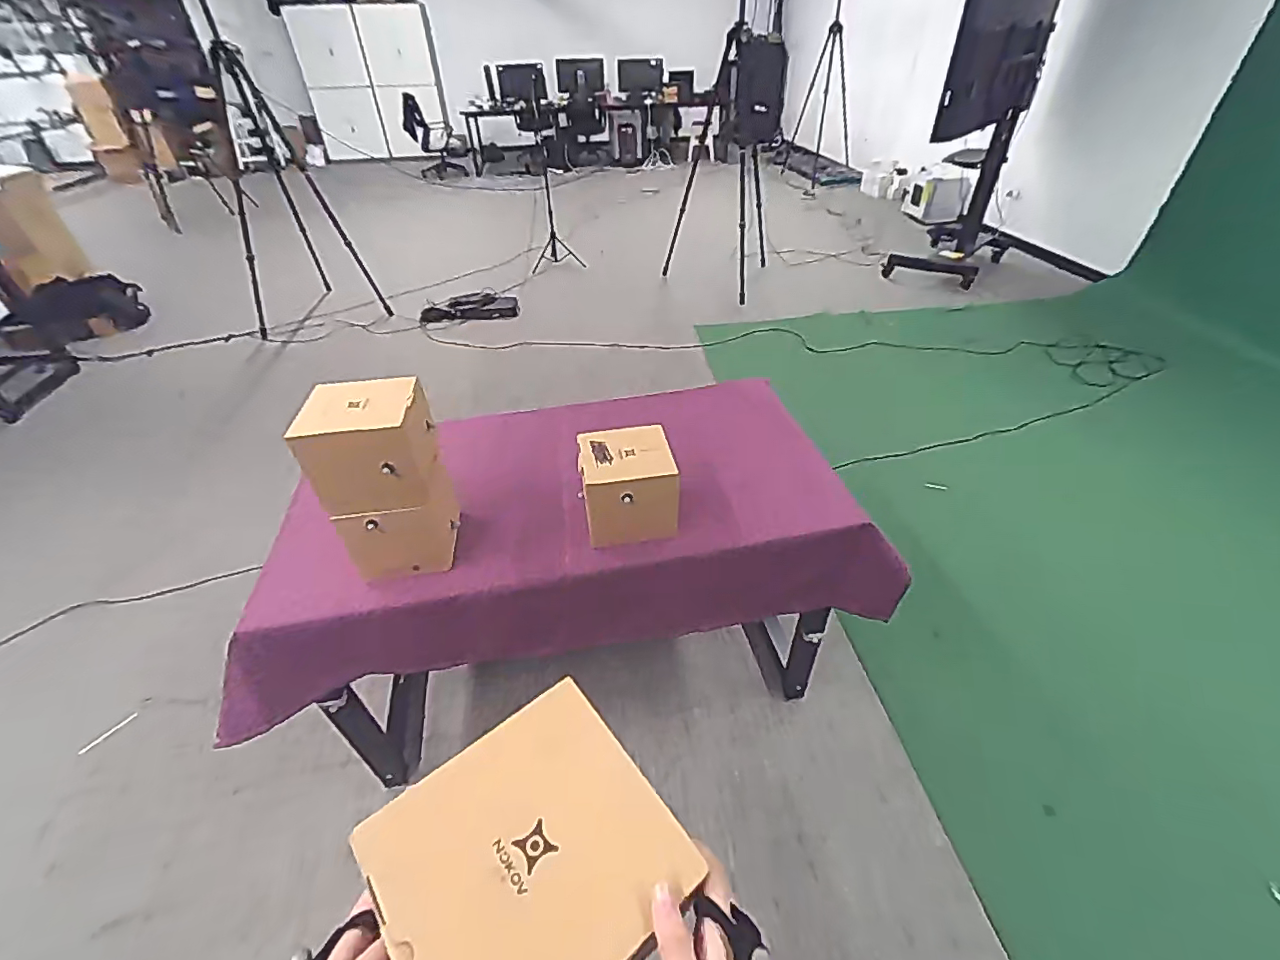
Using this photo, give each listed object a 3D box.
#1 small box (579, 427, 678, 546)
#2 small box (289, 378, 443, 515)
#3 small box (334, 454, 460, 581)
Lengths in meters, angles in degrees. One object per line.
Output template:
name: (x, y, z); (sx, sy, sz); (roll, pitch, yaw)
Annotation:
small box: (-0.023, 0.016, 1.090); (0.179, 0.176, 0.168); (-7, 40, -7)
small box: (-0.457, -0.058, 0.939); (0.179, 0.176, 0.168); (-6, 39, -5)
small box: (-0.454, 0.068, 1.044); (0.168, 0.176, 0.179); (-7, 39, -5)
